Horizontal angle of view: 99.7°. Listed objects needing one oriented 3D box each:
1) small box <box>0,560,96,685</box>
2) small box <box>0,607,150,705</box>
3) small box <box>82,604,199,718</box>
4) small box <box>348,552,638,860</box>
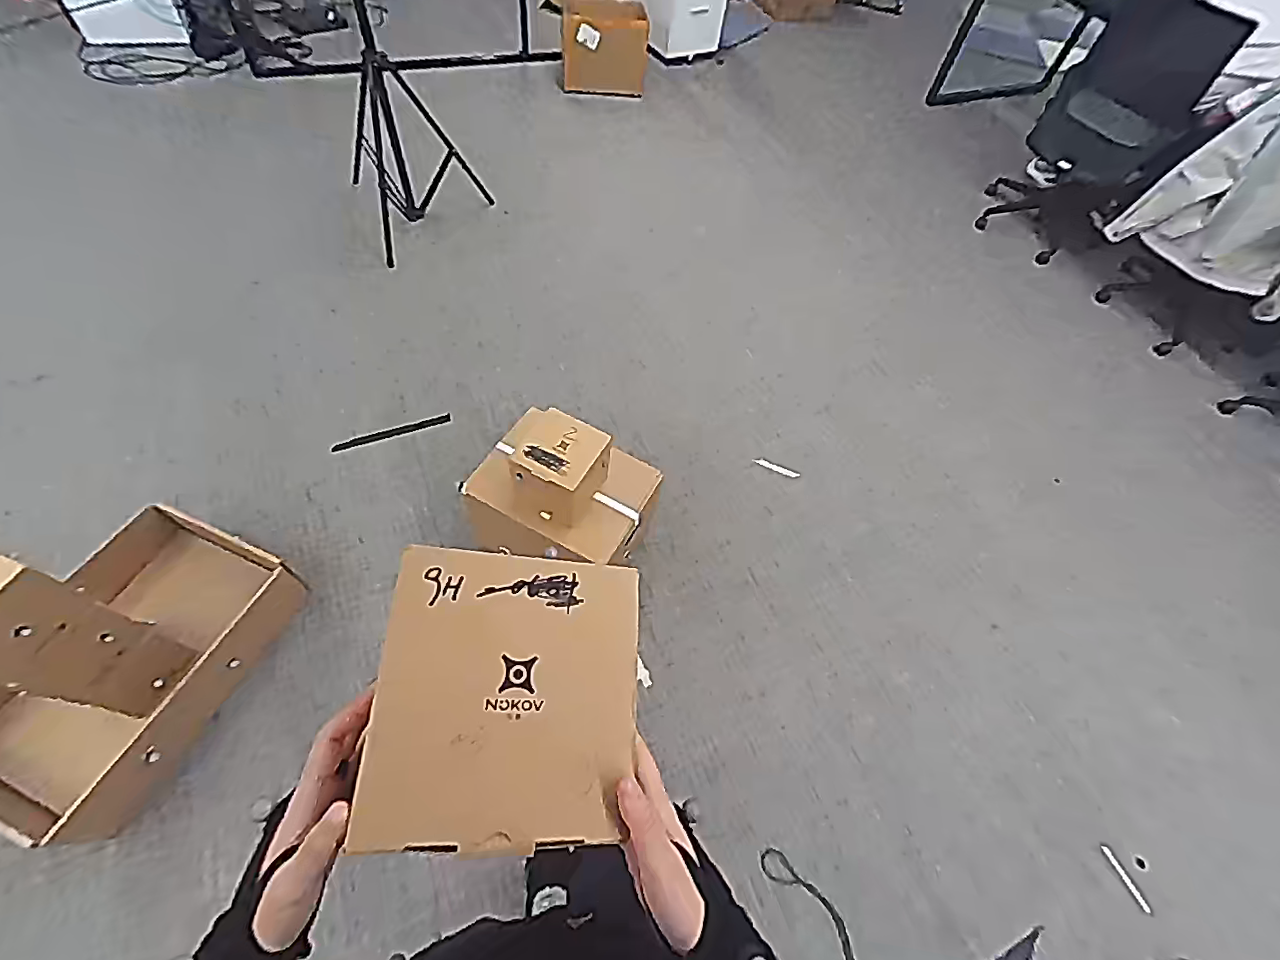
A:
[{"bbox_3d":[-1.113,0.231,0.919,0.179,0.176,0.168,19,56,4],"label":"small box"},{"bbox_3d":[-1.134,0.323,1.055,0.179,0.176,0.168,18,56,5],"label":"small box"},{"bbox_3d":[-1.147,0.406,1.194,0.179,0.176,0.168,23,58,6],"label":"small box"},{"bbox_3d":[-0.106,0.167,0.420,0.168,0.176,0.179,8,67,-17],"label":"small box"}]
